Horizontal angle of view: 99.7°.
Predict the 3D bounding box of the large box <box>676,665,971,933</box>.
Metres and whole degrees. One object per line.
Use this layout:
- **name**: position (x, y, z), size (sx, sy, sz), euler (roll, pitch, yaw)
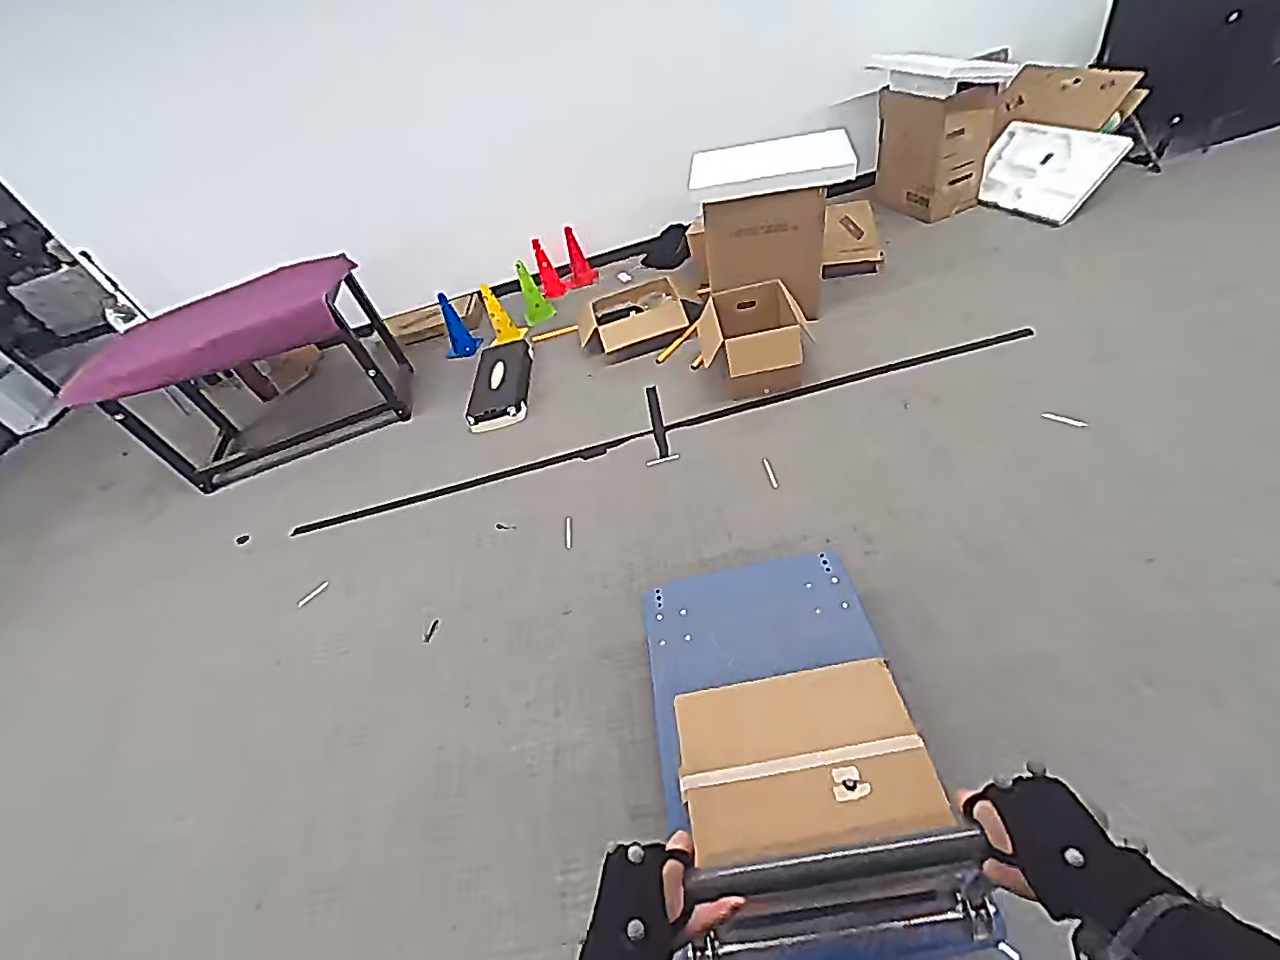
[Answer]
- **large box**: position (0.304, 0.593, 1.001), size (0.408, 0.320, 0.320), euler (-13, 44, 5)
